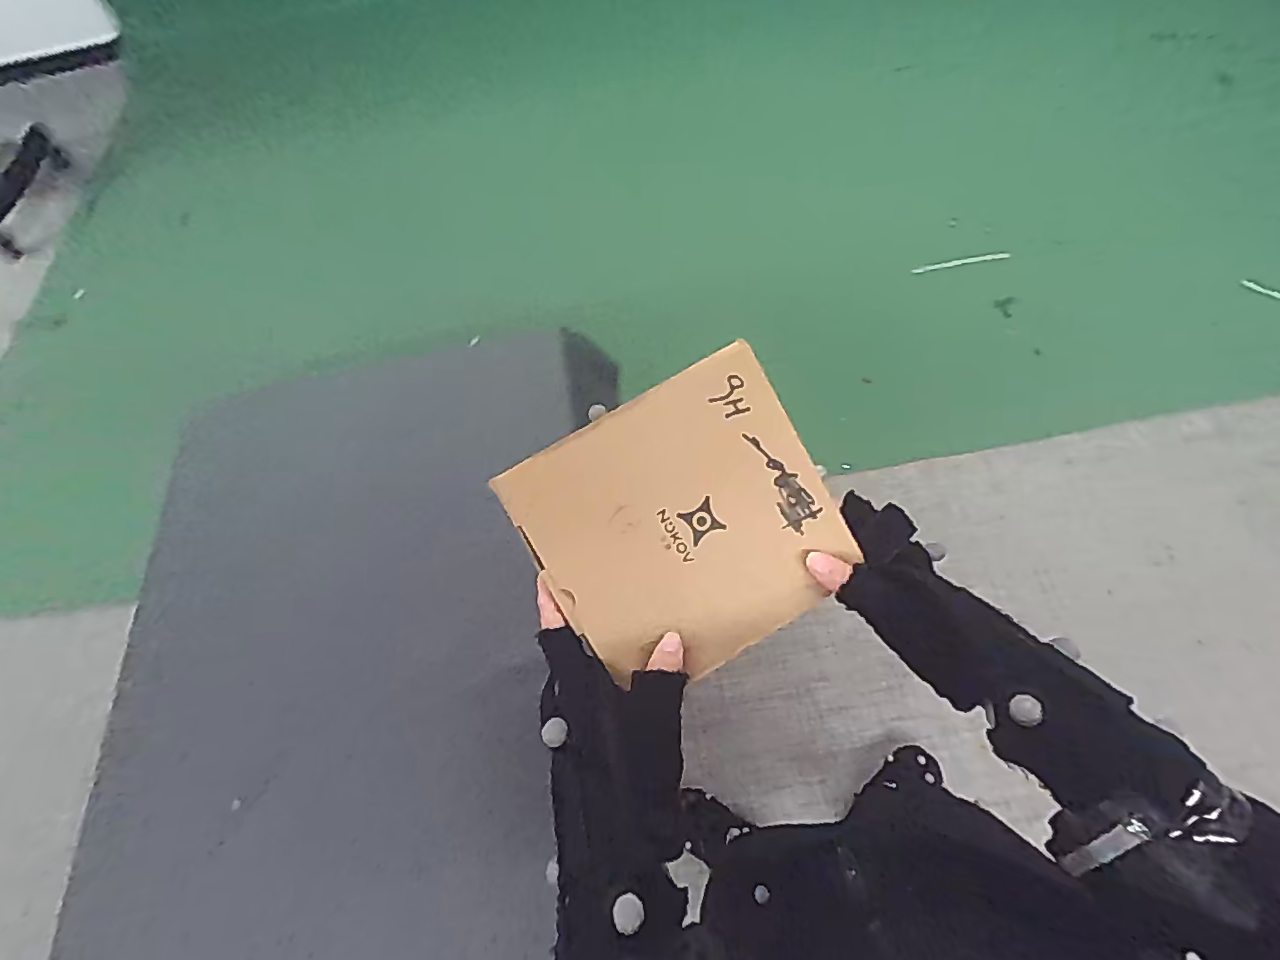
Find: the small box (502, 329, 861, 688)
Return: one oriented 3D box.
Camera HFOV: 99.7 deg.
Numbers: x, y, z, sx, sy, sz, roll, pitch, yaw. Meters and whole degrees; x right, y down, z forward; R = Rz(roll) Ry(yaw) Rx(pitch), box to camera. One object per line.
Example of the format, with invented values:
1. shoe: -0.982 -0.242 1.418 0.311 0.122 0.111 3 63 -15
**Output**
1. small box: 0.022 0.018 0.415 0.179 0.176 0.168 -32 93 -6
